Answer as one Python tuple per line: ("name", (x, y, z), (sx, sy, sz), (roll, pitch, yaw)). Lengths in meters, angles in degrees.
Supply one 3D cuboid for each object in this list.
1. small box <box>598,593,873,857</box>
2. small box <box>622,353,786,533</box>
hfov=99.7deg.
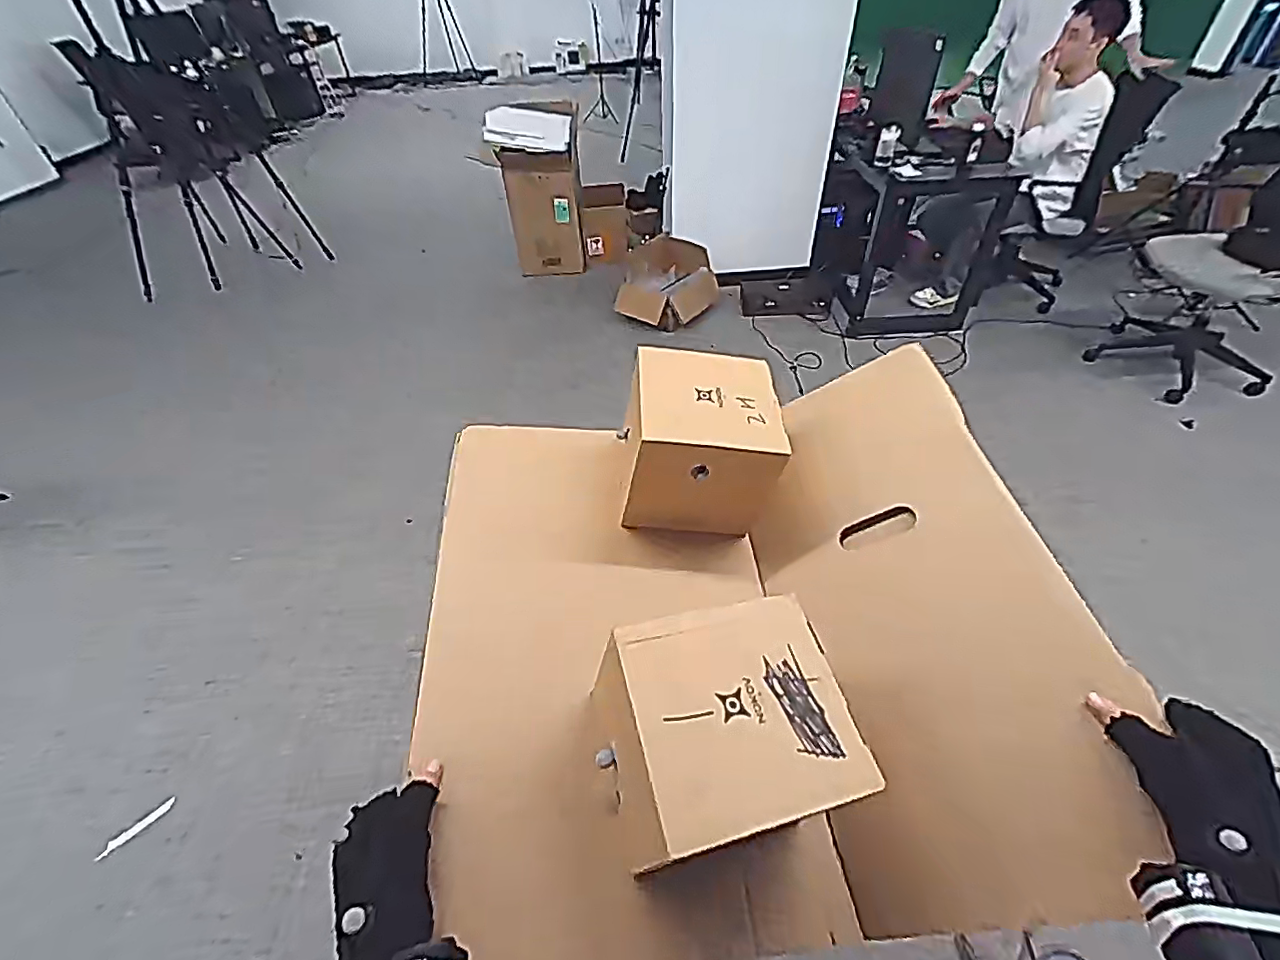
("small box", (0.068, 0.227, 0.501), (0.179, 0.176, 0.168), (-7, 53, -16))
("small box", (0.072, -0.044, 0.723), (0.179, 0.176, 0.168), (6, 51, -8))
